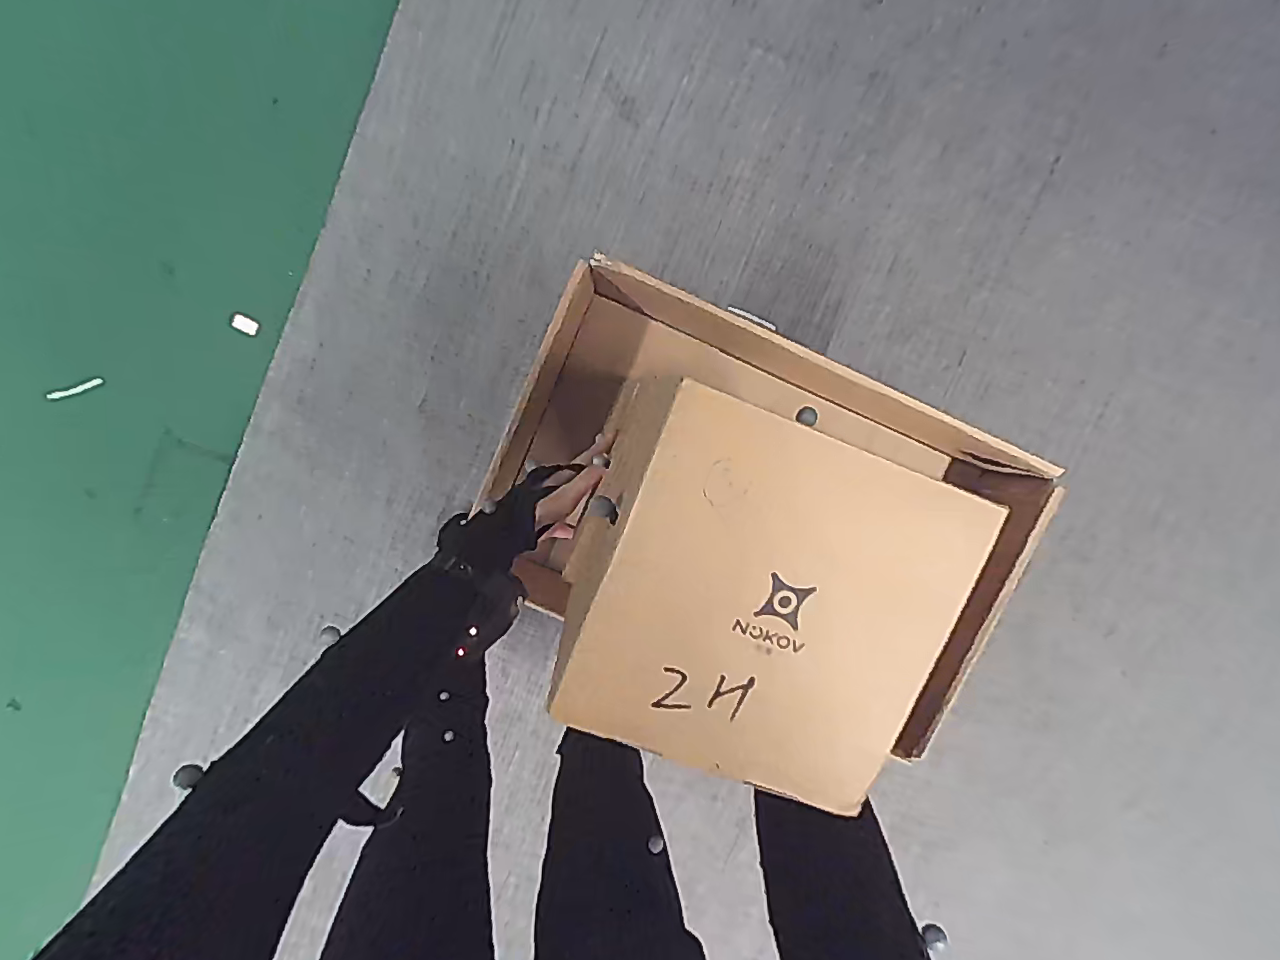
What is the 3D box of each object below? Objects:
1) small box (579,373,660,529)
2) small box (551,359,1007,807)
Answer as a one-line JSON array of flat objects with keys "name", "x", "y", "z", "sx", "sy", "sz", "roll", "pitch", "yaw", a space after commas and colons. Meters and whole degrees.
[{"name": "small box", "x": 0.038, "y": -0.016, "z": 0.652, "sx": 0.168, "sy": 0.176, "sz": 0.179, "roll": 22, "pitch": 99, "yaw": -7}, {"name": "small box", "x": 0.059, "y": 0.042, "z": 0.329, "sx": 0.168, "sy": 0.176, "sz": 0.179, "roll": 22, "pitch": 98, "yaw": -6}]
